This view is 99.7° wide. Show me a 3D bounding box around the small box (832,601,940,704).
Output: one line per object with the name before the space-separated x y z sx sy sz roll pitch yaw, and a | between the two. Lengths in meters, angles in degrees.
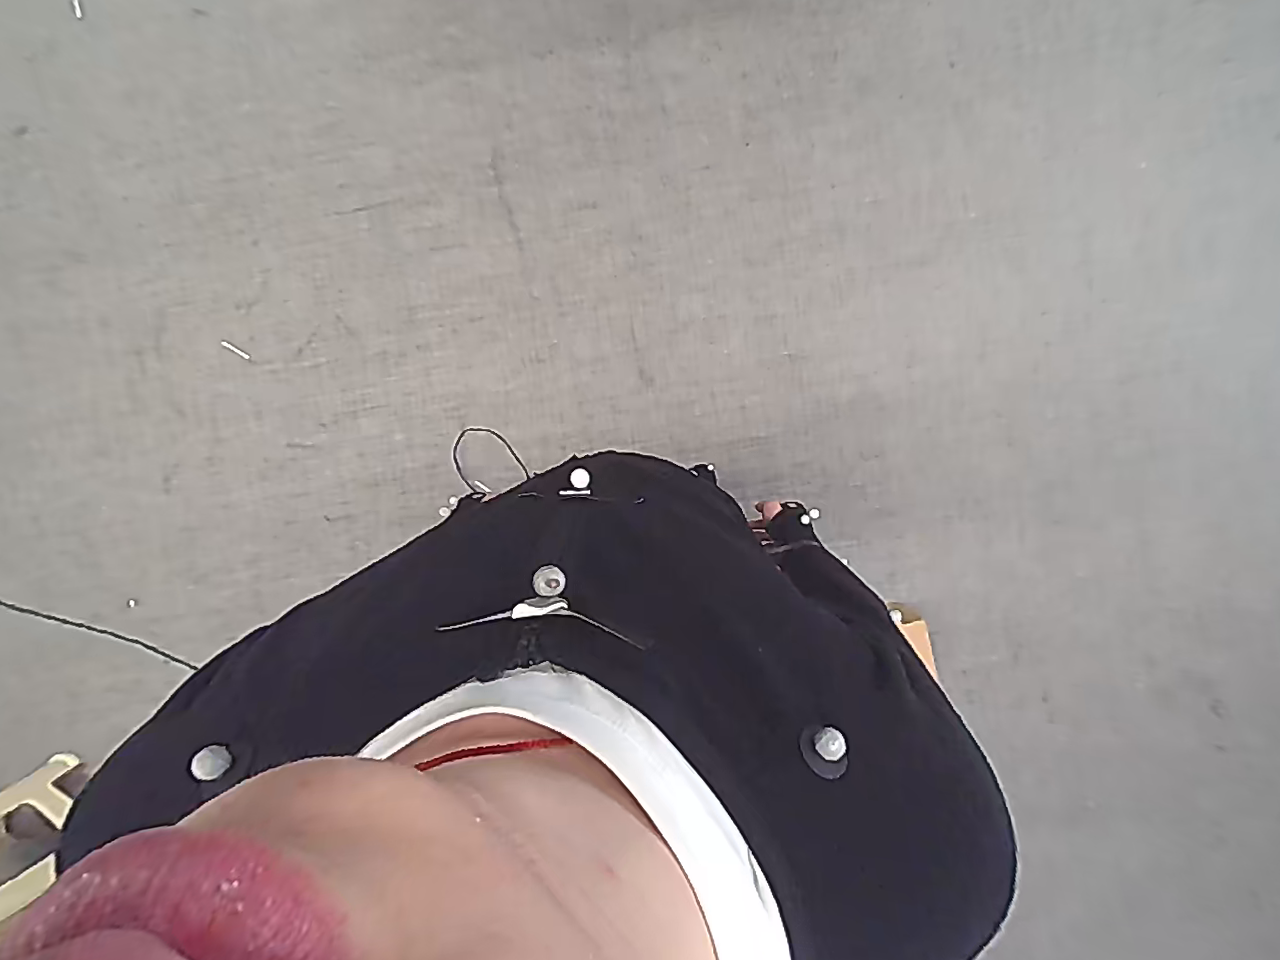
small box | 0.657 0.459 1.470 0.179 0.176 0.168 -42 92 3
